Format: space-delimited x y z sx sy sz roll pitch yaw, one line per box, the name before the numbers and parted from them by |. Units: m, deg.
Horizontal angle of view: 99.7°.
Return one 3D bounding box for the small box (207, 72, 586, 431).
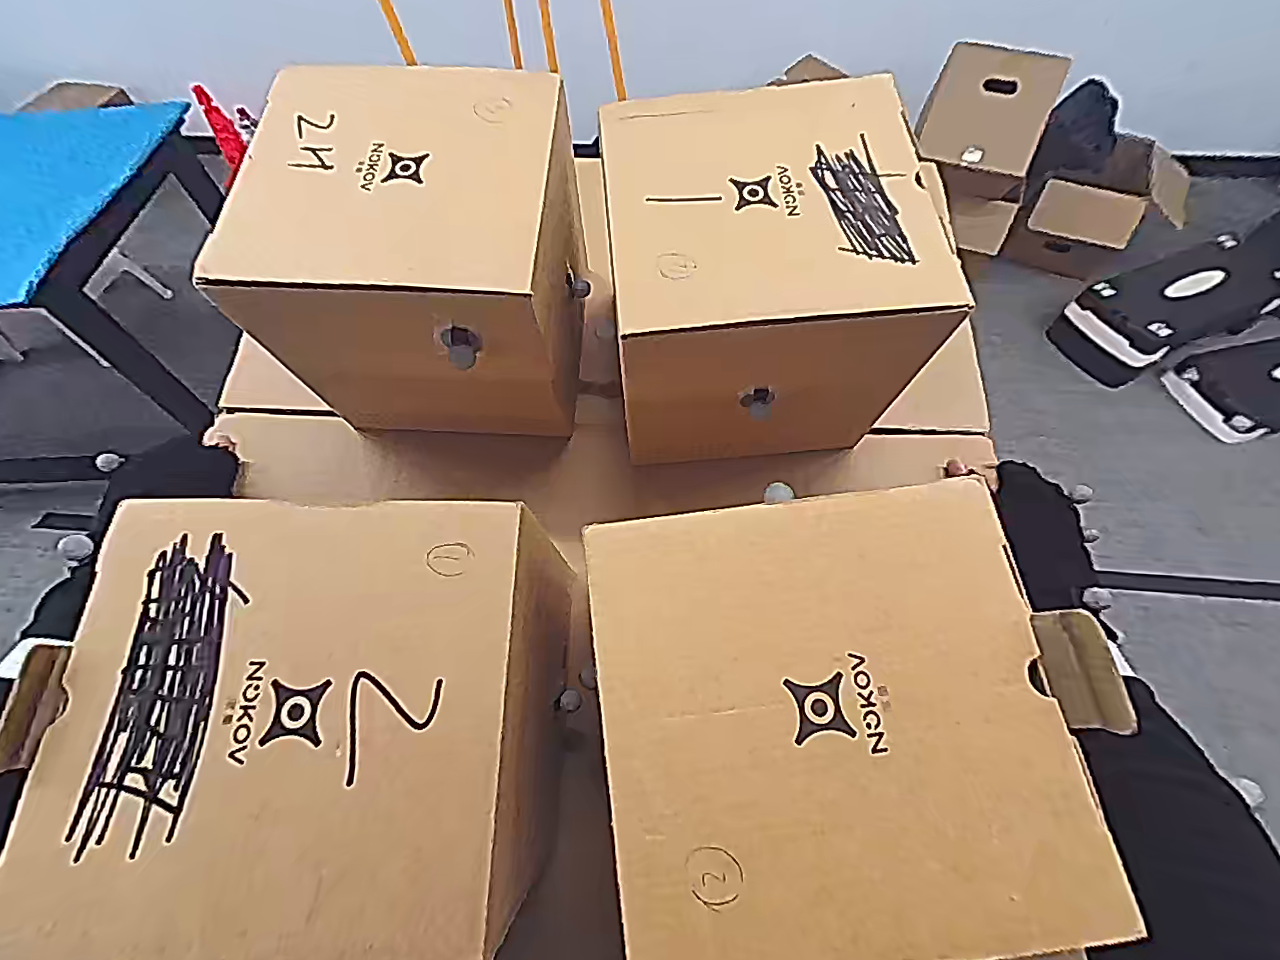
small box | -0.137 -0.145 0.385 0.179 0.176 0.168 4 69 2
